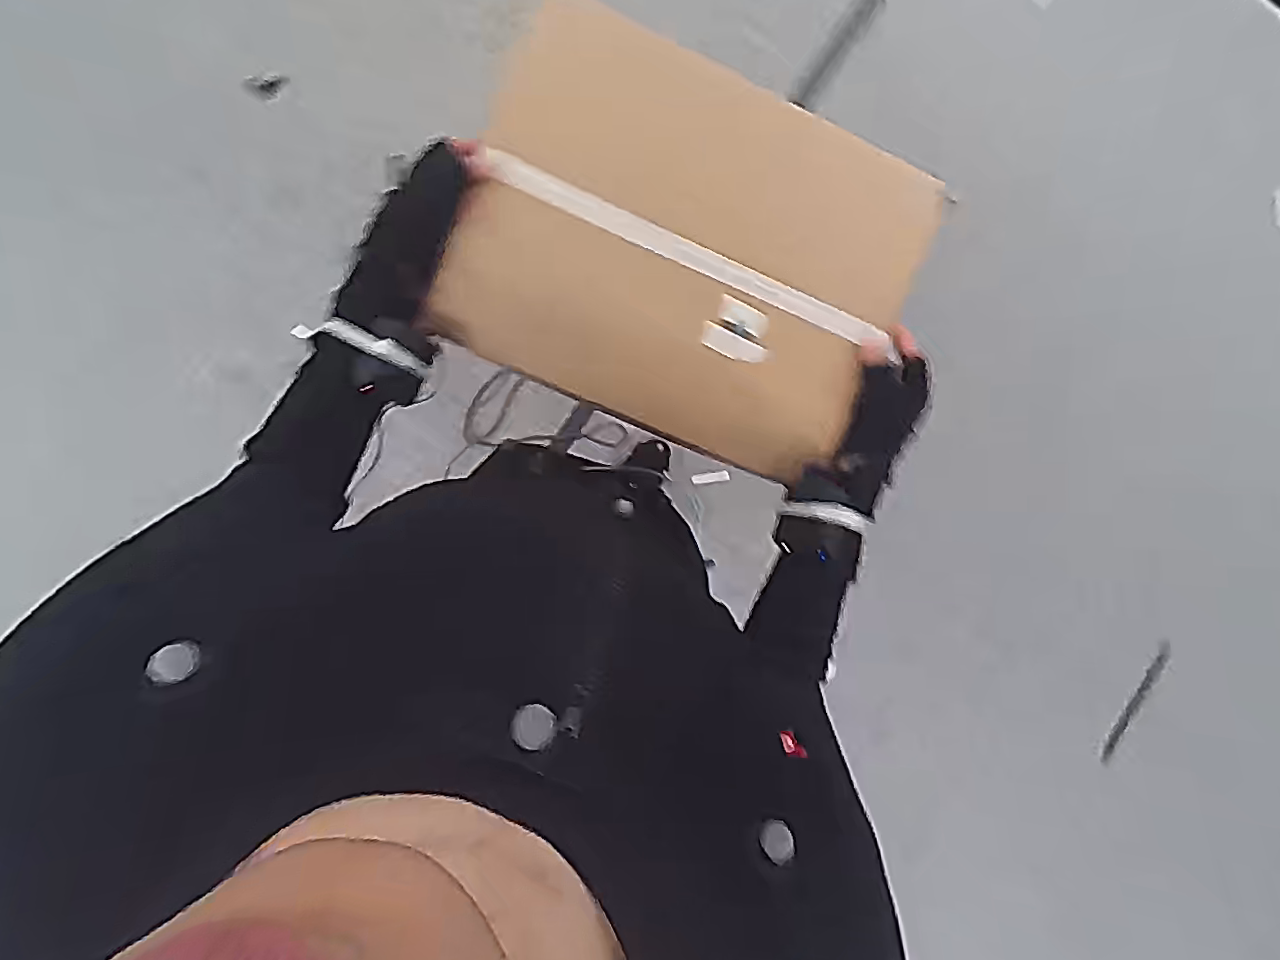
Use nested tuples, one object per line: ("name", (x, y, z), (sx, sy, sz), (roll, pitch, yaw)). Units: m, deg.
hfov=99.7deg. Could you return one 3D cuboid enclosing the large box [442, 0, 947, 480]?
("large box", (0.042, -0.228, 0.650), (0.408, 0.320, 0.320), (23, 95, -7))
